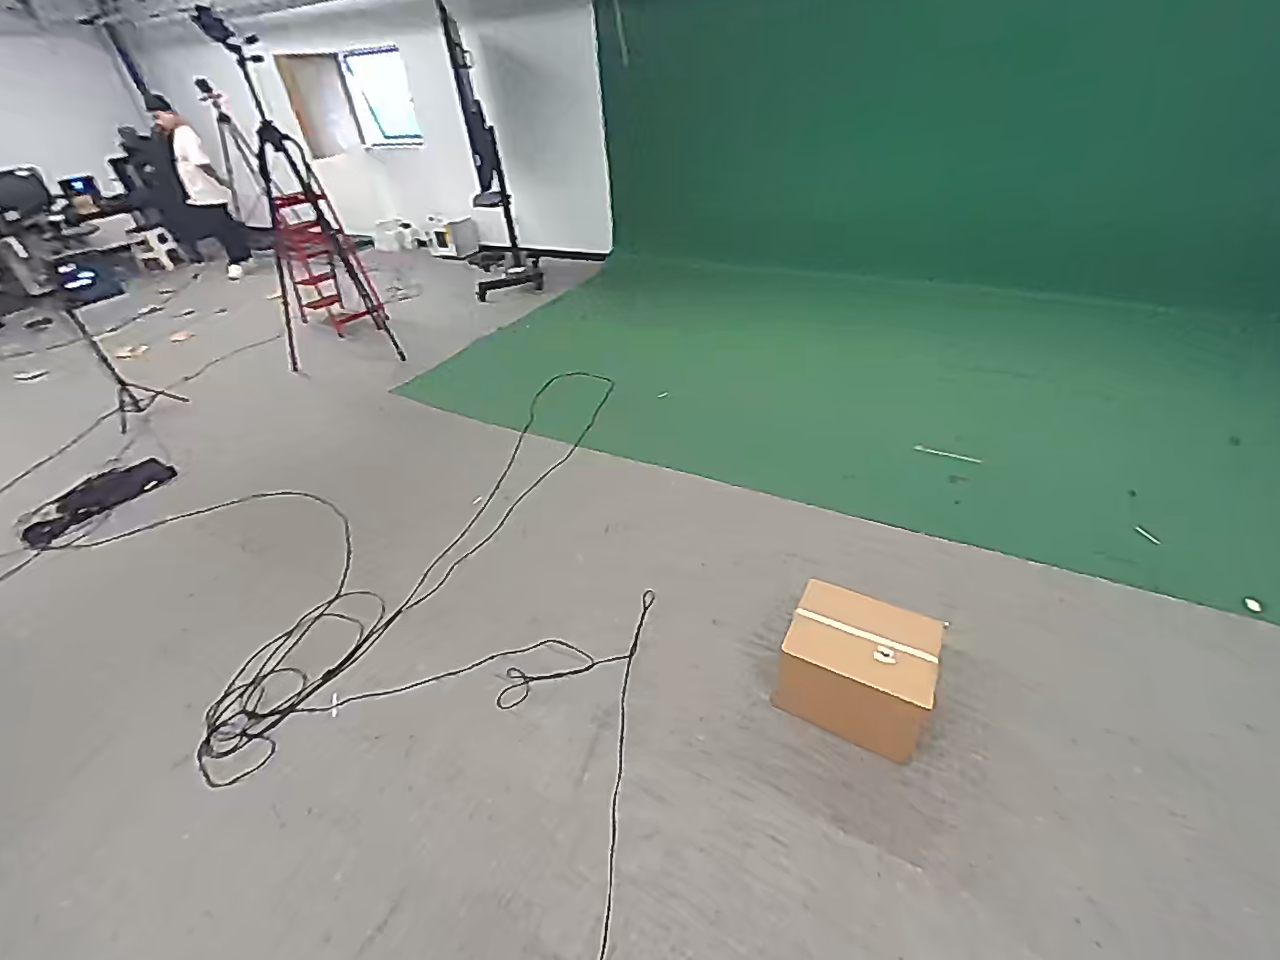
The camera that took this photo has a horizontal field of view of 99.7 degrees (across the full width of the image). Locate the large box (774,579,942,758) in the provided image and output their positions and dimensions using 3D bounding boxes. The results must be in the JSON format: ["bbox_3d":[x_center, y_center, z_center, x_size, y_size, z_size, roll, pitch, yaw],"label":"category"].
[{"bbox_3d":[0.665,0.573,1.681,0.408,0.320,0.320,16,43,25],"label":"large box"}]
